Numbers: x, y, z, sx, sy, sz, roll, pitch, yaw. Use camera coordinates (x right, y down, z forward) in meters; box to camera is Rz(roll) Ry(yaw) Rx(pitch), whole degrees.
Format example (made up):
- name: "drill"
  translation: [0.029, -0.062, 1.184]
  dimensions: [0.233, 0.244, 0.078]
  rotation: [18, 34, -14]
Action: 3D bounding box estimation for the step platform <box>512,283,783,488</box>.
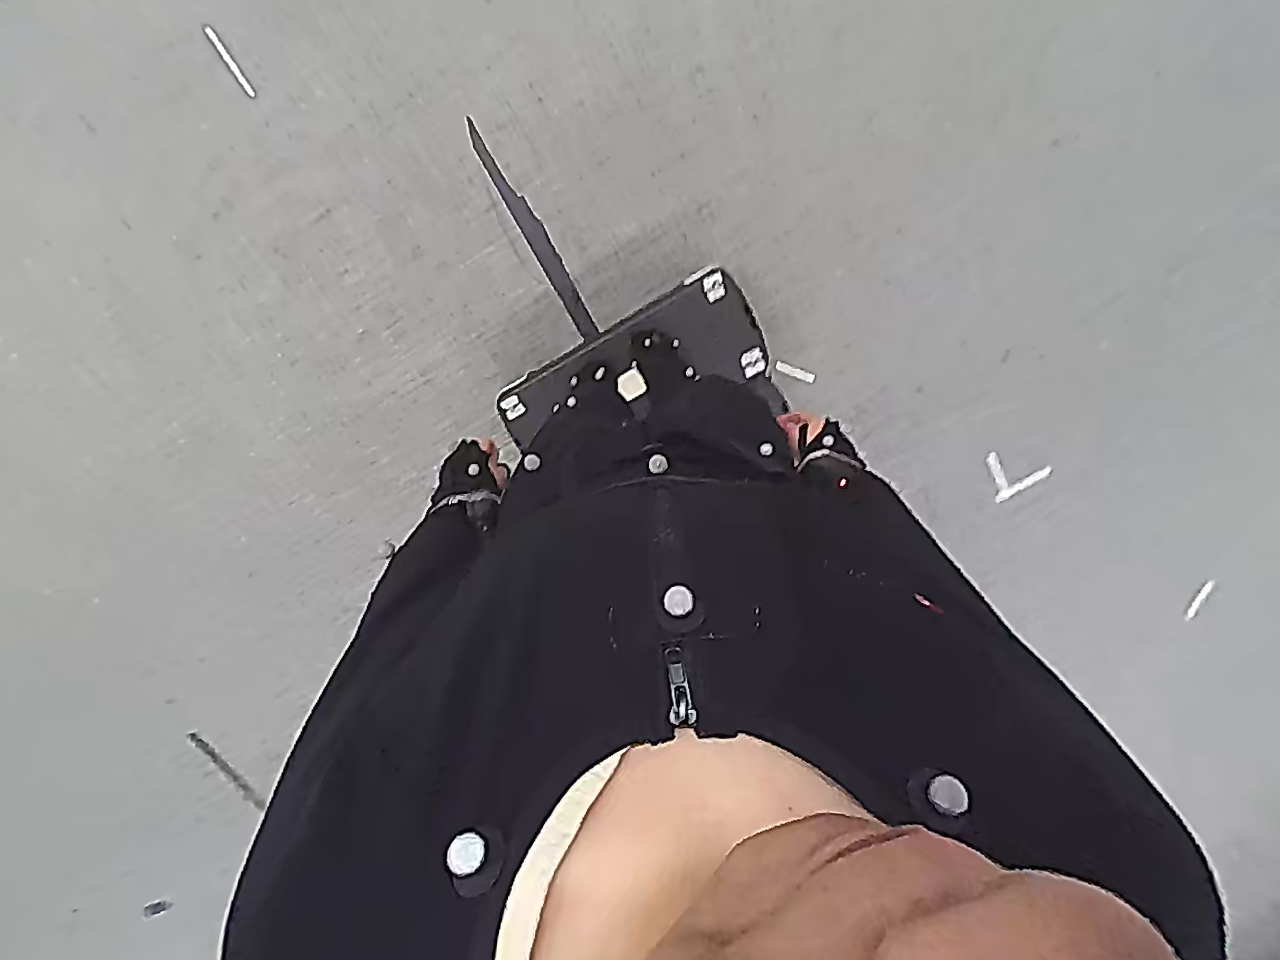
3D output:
- name: "step platform"
  translation: [0.016, -0.242, 1.412]
  dimensions: [0.684, 0.204, 0.286]
  rotation: [-25, 106, 5]
